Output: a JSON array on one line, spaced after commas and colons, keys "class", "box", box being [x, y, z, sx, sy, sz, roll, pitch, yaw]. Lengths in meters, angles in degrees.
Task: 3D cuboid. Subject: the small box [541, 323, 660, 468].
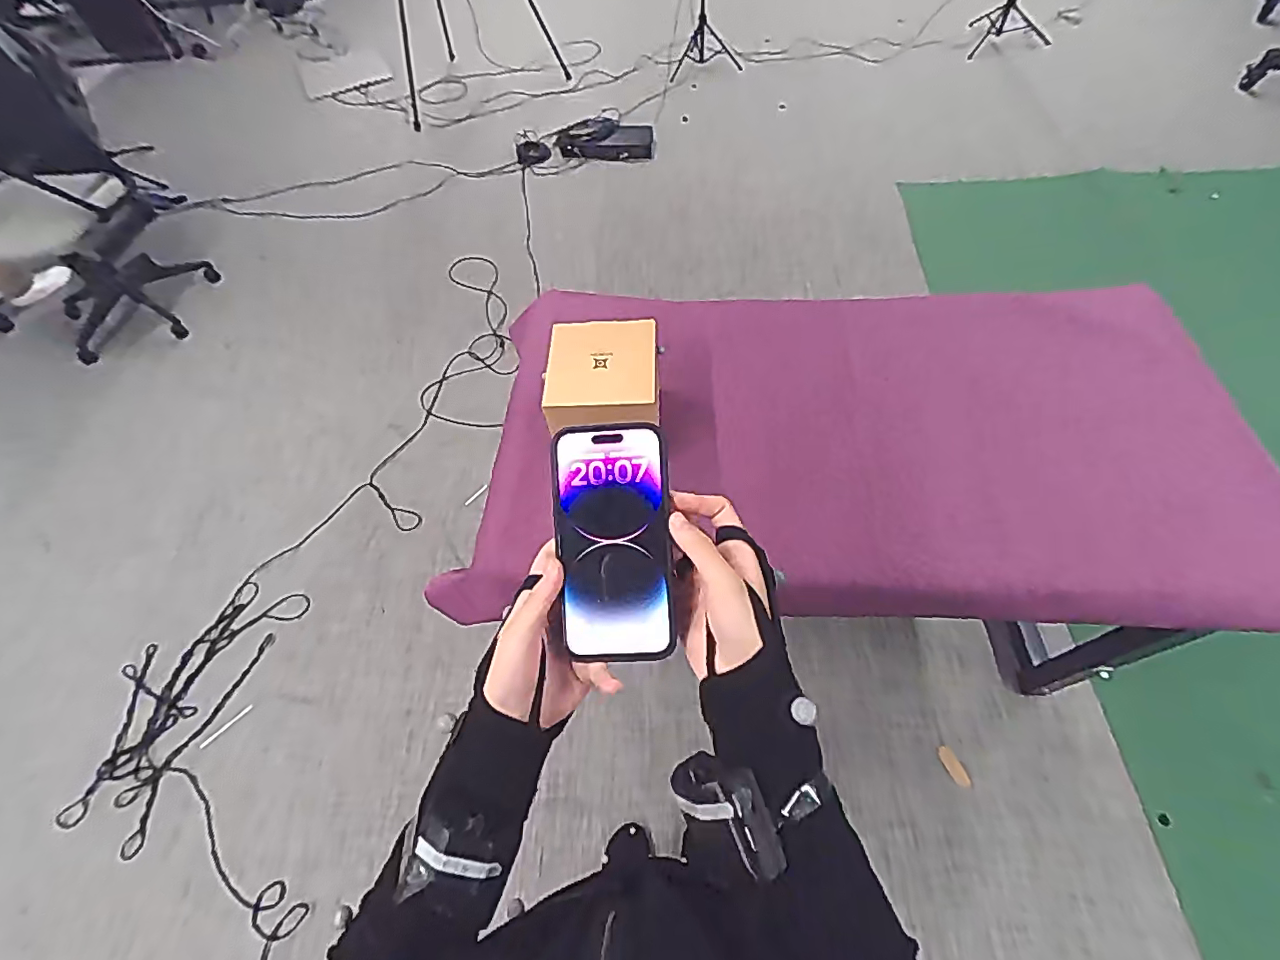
[{"class": "small box", "box": [-0.053, -0.130, 0.881, 0.168, 0.176, 0.179, -2, 56, 4]}]
